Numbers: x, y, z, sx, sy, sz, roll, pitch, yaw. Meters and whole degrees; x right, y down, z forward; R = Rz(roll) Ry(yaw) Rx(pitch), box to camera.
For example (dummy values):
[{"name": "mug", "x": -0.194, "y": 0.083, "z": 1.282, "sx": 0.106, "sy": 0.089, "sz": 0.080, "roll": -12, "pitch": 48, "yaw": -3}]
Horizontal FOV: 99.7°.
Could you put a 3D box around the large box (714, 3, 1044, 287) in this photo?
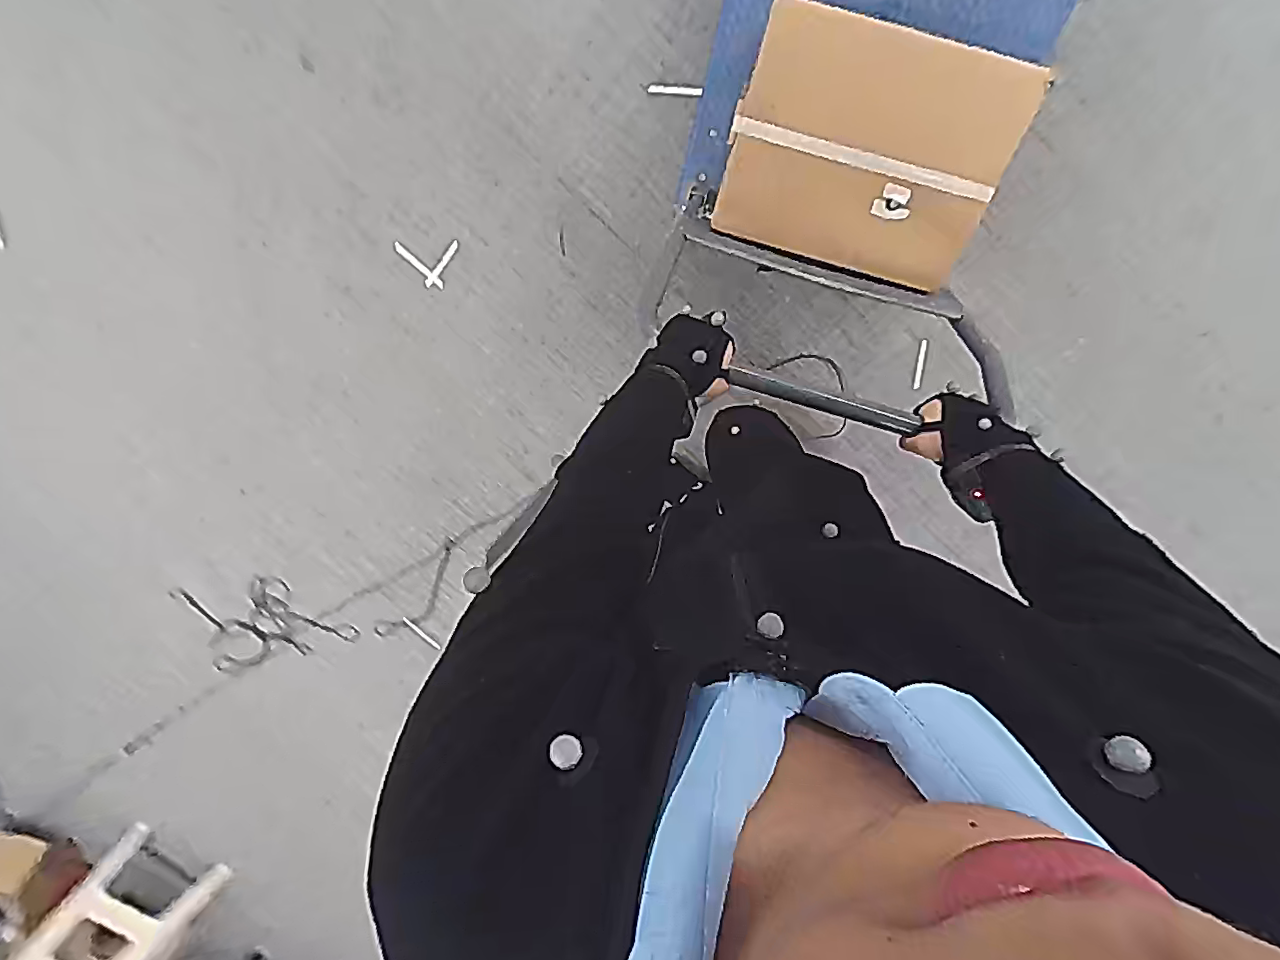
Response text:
[{"name": "large box", "x": 0.371, "y": -0.585, "z": 0.971, "sx": 0.408, "sy": 0.320, "sz": 0.320, "roll": 16, "pitch": 125, "yaw": 0}]
